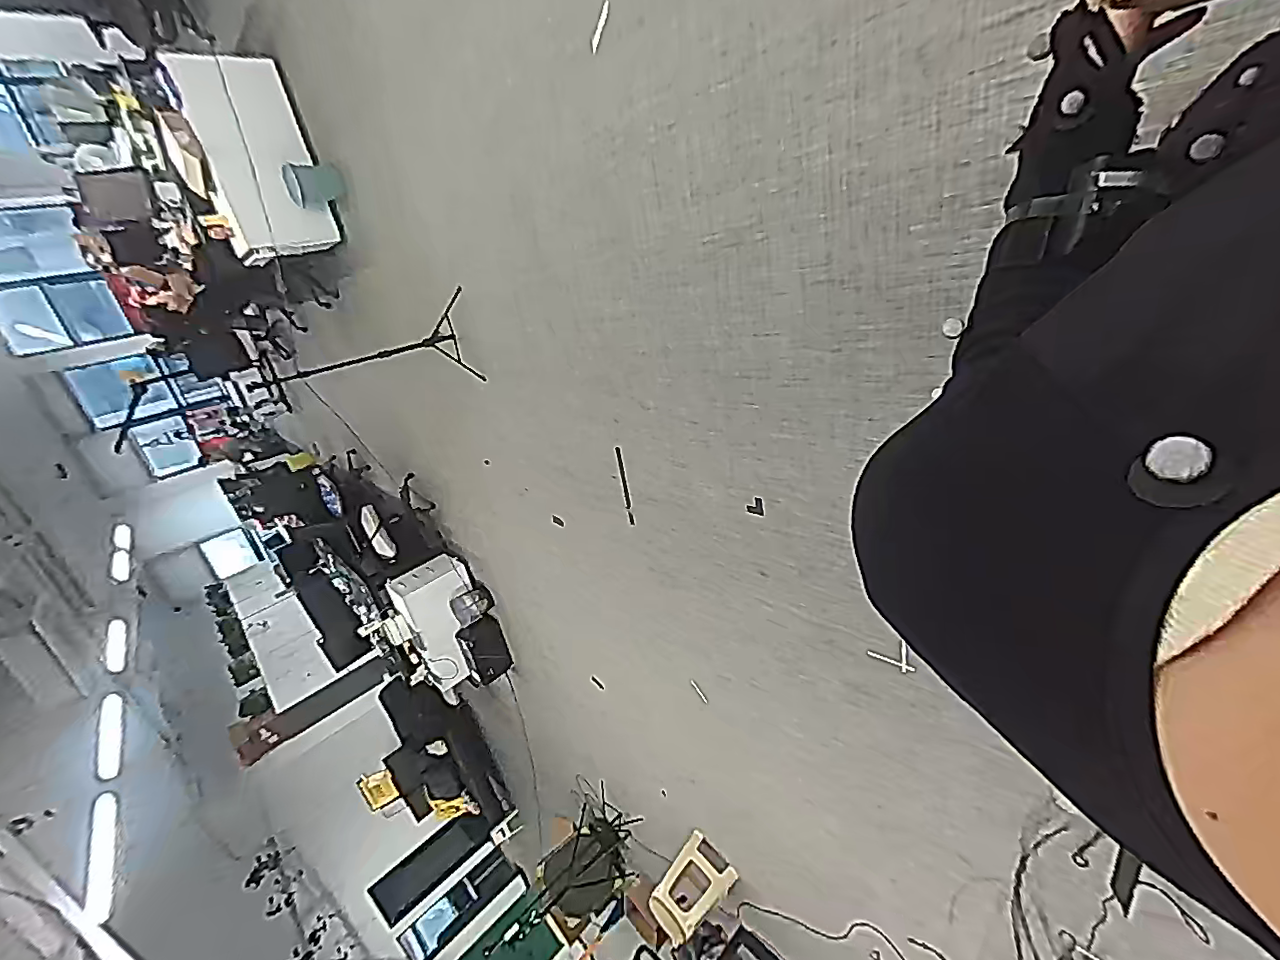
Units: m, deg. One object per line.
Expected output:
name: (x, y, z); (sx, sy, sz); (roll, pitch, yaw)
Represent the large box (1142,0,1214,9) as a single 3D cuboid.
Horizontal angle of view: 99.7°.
large box: (0.371, -0.358, 0.091); (0.408, 0.320, 0.320); (11, 128, 42)
